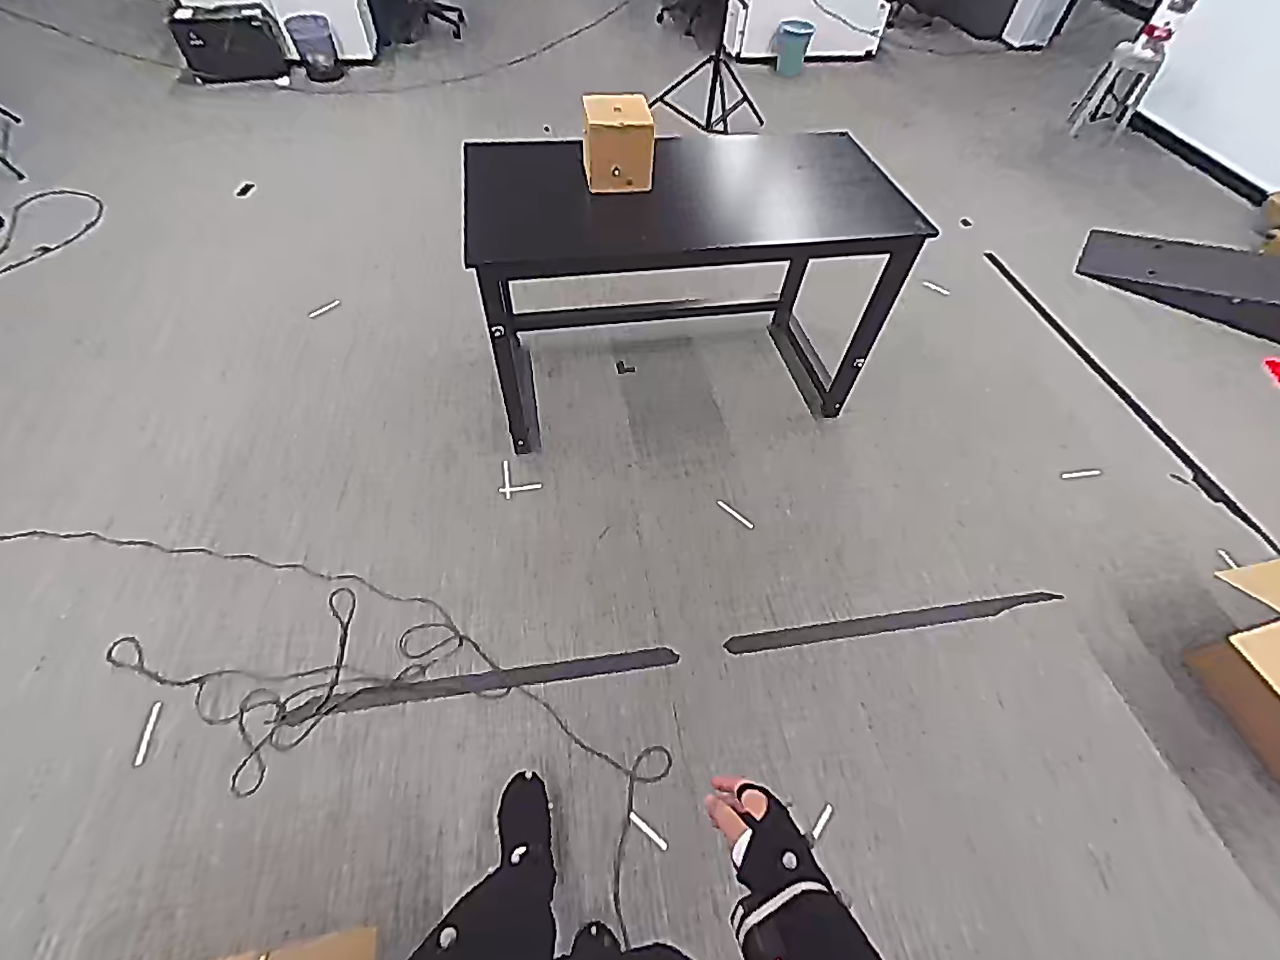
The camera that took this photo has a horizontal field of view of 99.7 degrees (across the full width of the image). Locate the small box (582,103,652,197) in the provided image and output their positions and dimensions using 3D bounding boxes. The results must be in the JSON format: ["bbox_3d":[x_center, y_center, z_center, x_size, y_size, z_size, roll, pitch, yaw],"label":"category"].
[{"bbox_3d":[-0.067,-0.885,1.453,0.168,0.176,0.179,-6,55,-8],"label":"small box"}]
